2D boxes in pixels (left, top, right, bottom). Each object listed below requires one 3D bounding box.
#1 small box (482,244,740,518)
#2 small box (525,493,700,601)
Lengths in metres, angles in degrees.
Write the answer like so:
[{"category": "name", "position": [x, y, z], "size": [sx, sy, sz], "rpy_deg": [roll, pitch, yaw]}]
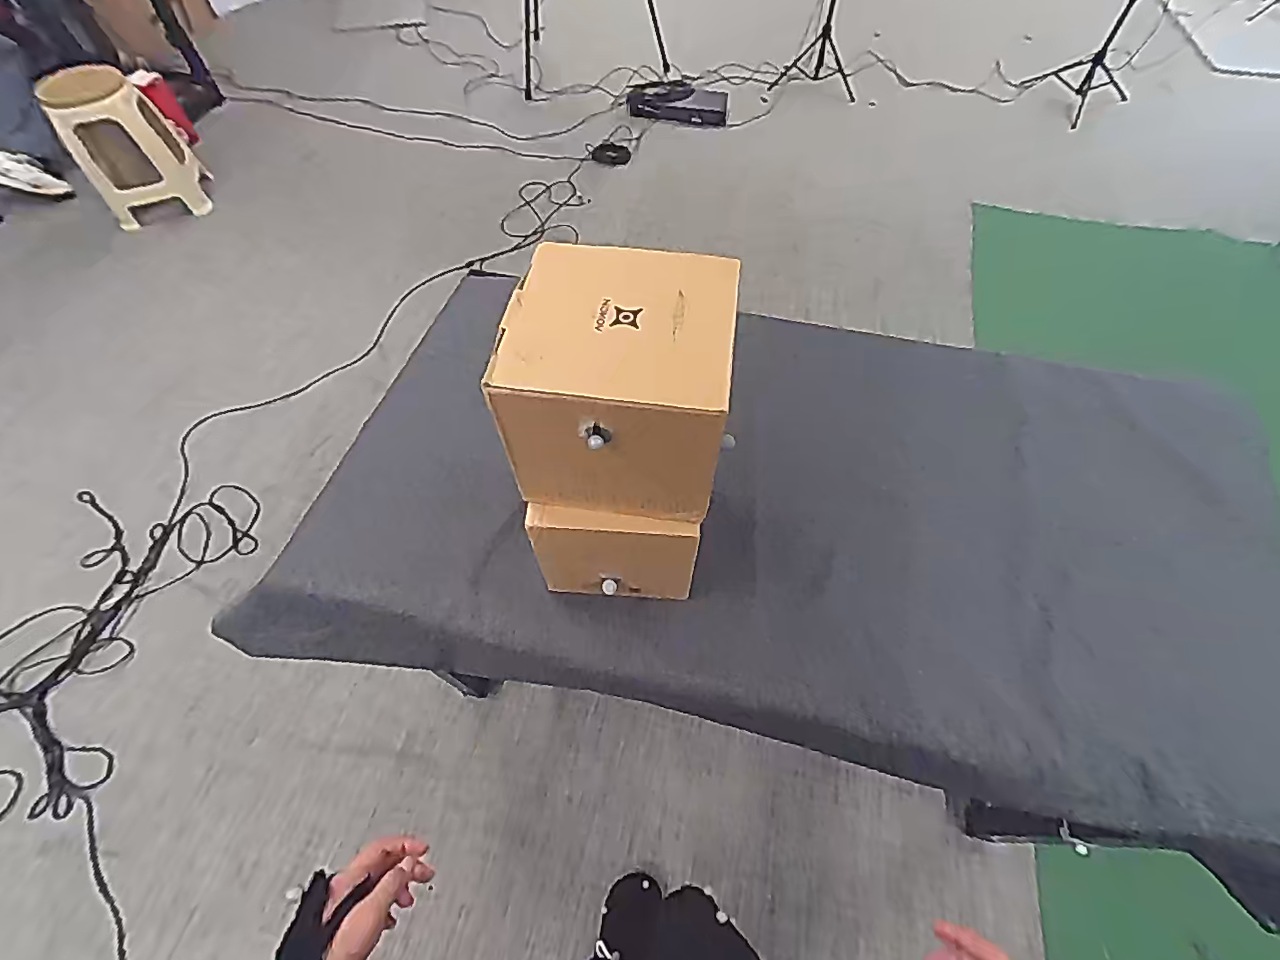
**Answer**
[{"category": "small box", "position": [-0.014, -0.080, 0.480], "size": [0.179, 0.176, 0.168], "rpy_deg": [7, 59, 4]}, {"category": "small box", "position": [-0.020, 0.019, 0.609], "size": [0.168, 0.176, 0.179], "rpy_deg": [3, 58, 3]}]
